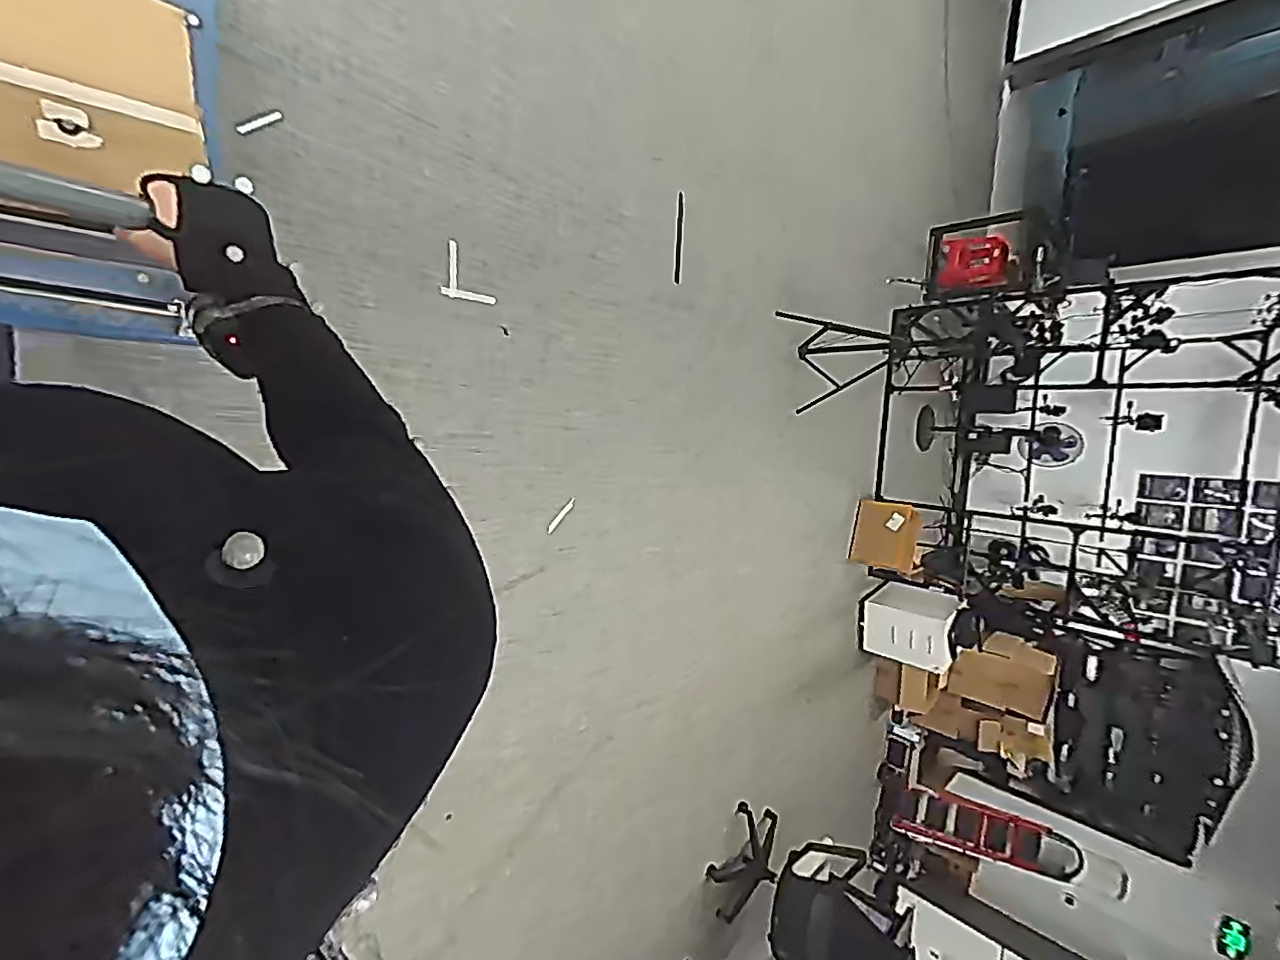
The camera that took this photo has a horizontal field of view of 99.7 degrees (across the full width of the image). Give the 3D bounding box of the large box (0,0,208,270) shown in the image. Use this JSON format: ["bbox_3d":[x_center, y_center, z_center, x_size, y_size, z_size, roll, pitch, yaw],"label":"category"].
[{"bbox_3d":[-0.894,-0.506,0.746,0.408,0.320,0.320,-8,102,-47],"label":"large box"}]
